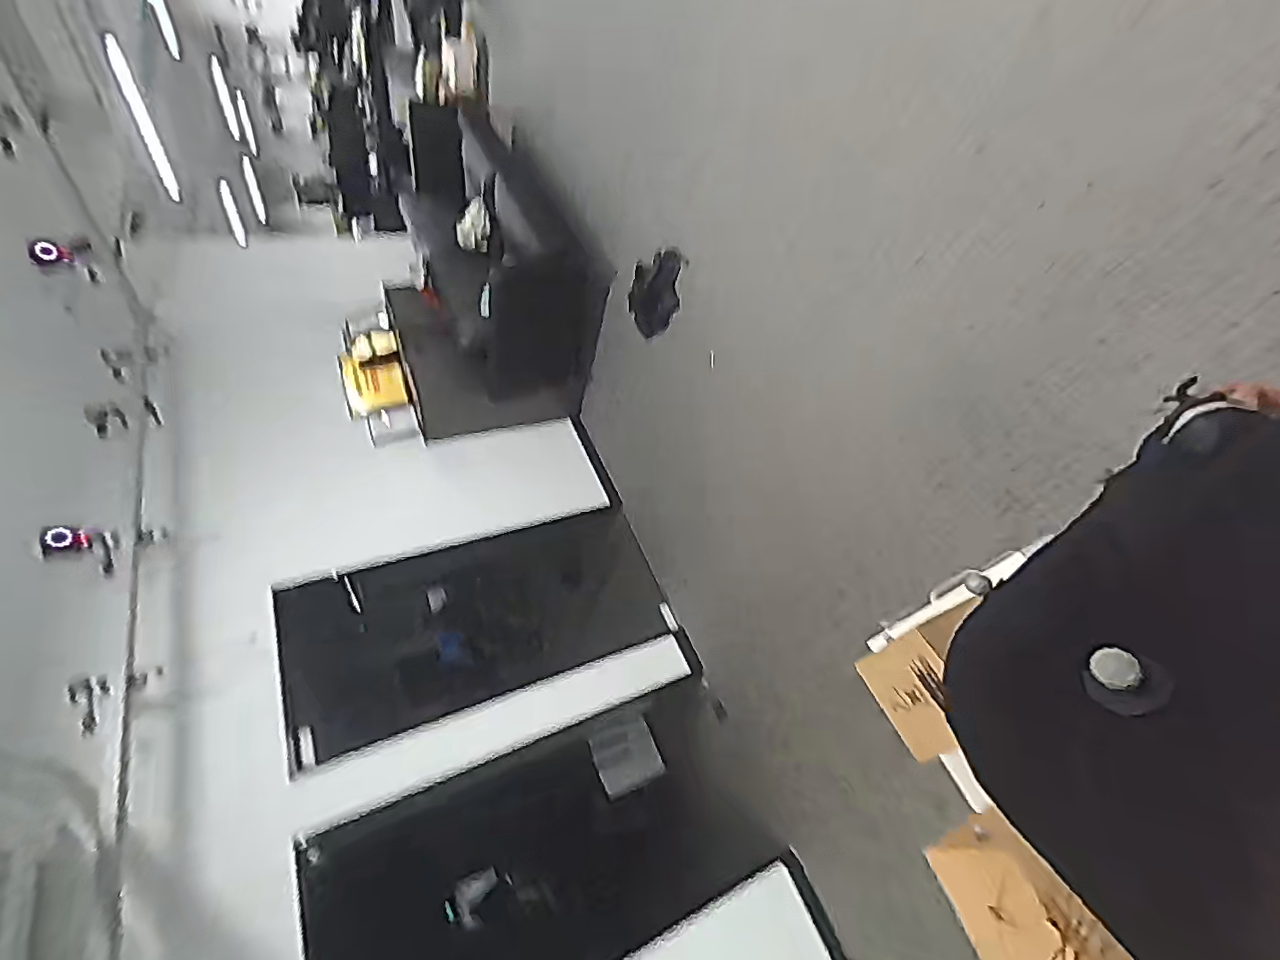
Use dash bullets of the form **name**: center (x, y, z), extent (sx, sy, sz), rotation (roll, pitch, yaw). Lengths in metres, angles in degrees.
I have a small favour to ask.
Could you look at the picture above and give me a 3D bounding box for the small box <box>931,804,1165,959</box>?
- **small box**: center (0.580, 0.594, 0.783), extent (0.168, 0.176, 0.179), rotation (65, 152, 26)
